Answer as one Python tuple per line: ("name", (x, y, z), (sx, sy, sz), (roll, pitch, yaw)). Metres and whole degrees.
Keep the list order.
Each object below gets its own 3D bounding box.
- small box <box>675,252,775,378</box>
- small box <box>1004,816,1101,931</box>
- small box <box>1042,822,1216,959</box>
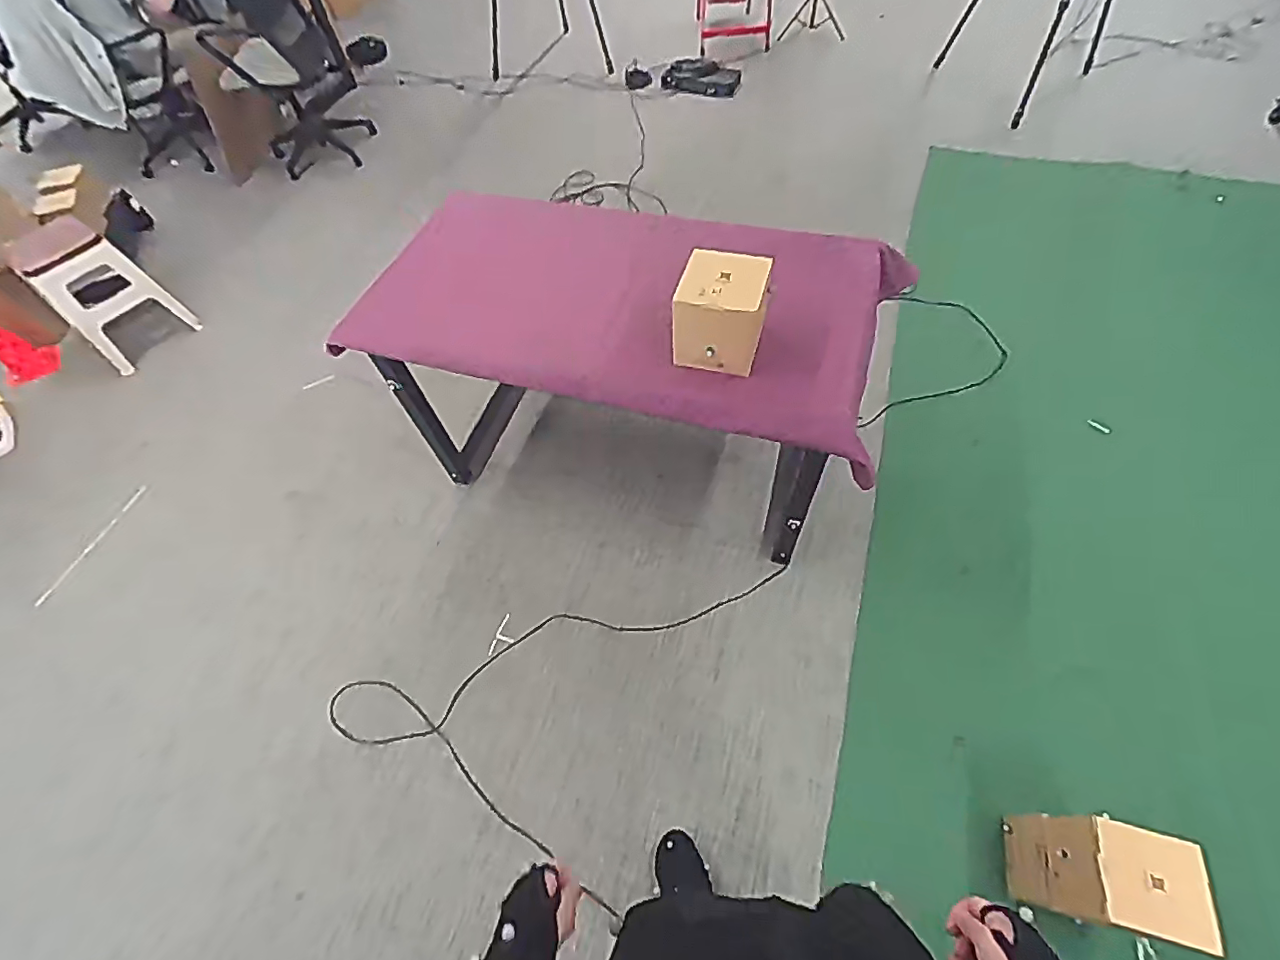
("small box", (0.173, -0.343, 1.129), (0.168, 0.176, 0.179), (13, 58, 14))
("small box", (0.918, 0.853, 1.172), (0.179, 0.176, 0.168), (13, 59, 11))
("small box", (0.915, 0.770, 1.032), (0.179, 0.176, 0.168), (11, 59, 12))
